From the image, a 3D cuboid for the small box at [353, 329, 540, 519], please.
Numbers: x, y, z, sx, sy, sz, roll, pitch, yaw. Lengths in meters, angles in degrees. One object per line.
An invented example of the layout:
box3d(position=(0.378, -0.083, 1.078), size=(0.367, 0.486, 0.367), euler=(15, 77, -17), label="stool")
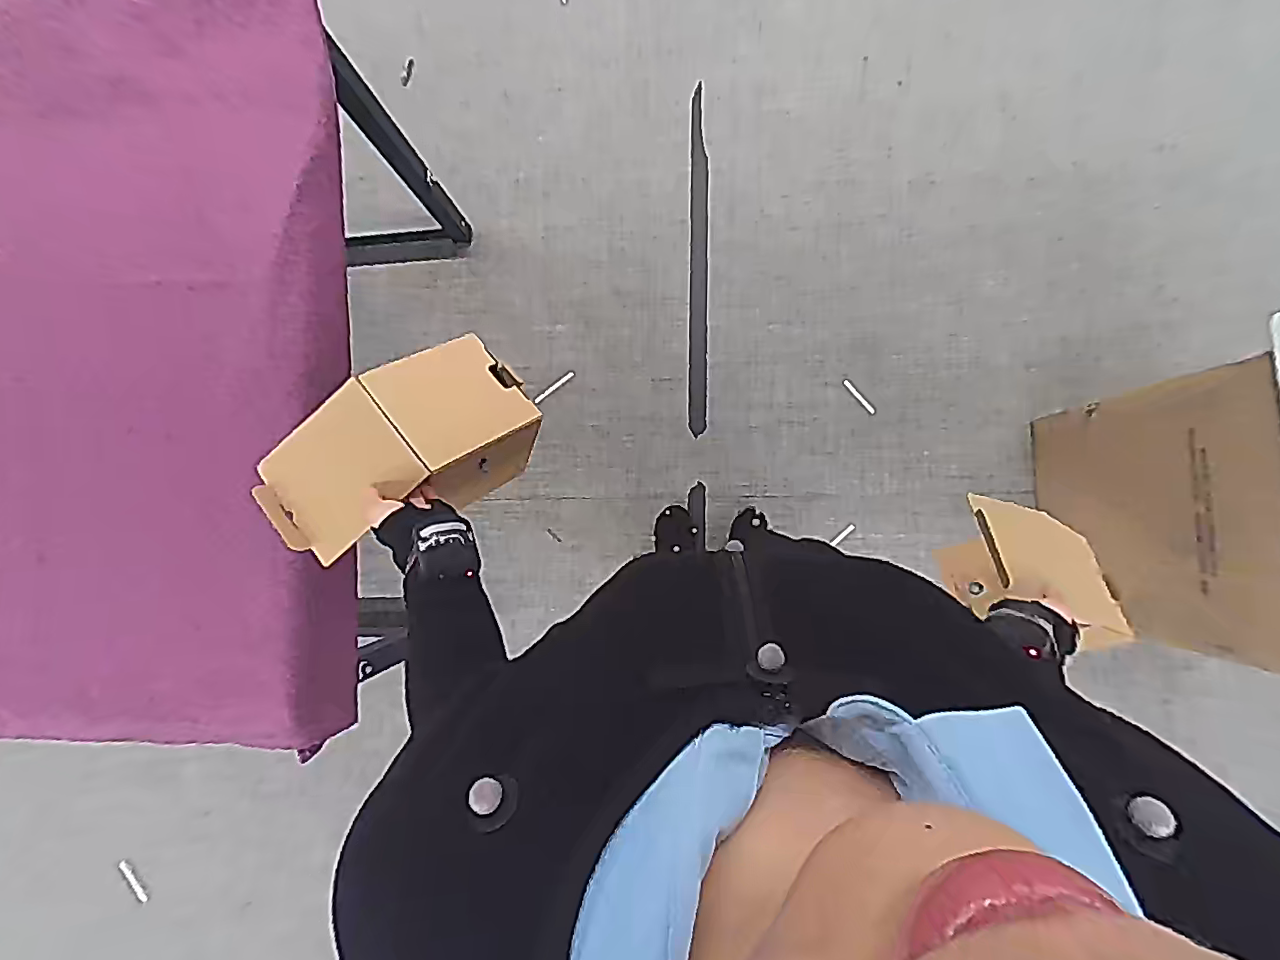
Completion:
box3d(position=(-0.269, -0.073, 0.760), size=(0.179, 0.176, 0.168), euler=(-34, 79, -33), label="small box")
